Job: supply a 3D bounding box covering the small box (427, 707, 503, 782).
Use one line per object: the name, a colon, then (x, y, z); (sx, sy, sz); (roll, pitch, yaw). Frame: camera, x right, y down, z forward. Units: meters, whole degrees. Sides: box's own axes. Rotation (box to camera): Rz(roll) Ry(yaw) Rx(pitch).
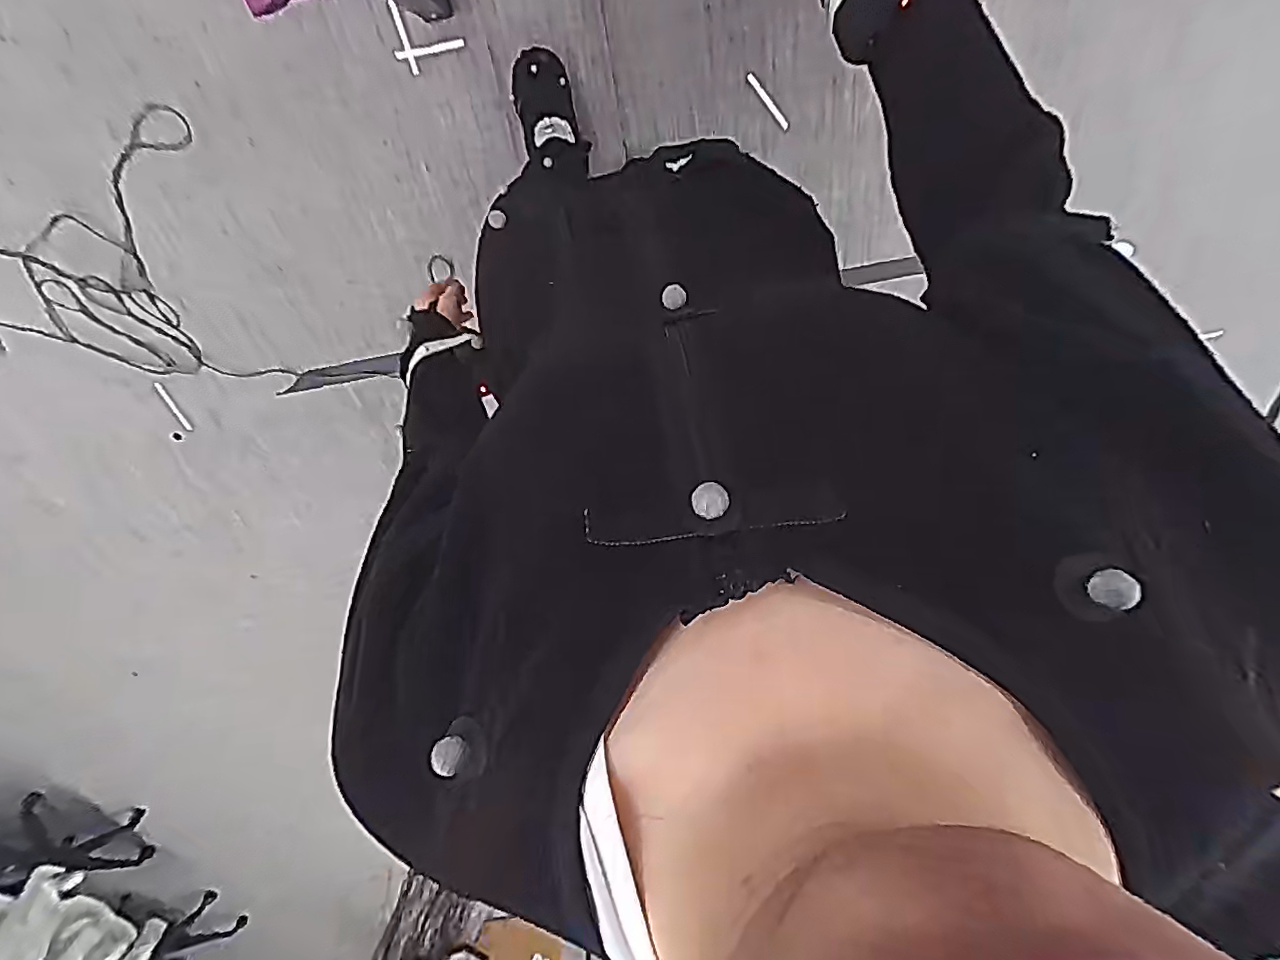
small box: (-0.561, 0.877, 1.757); (0.168, 0.176, 0.179); (31, 115, -25)
